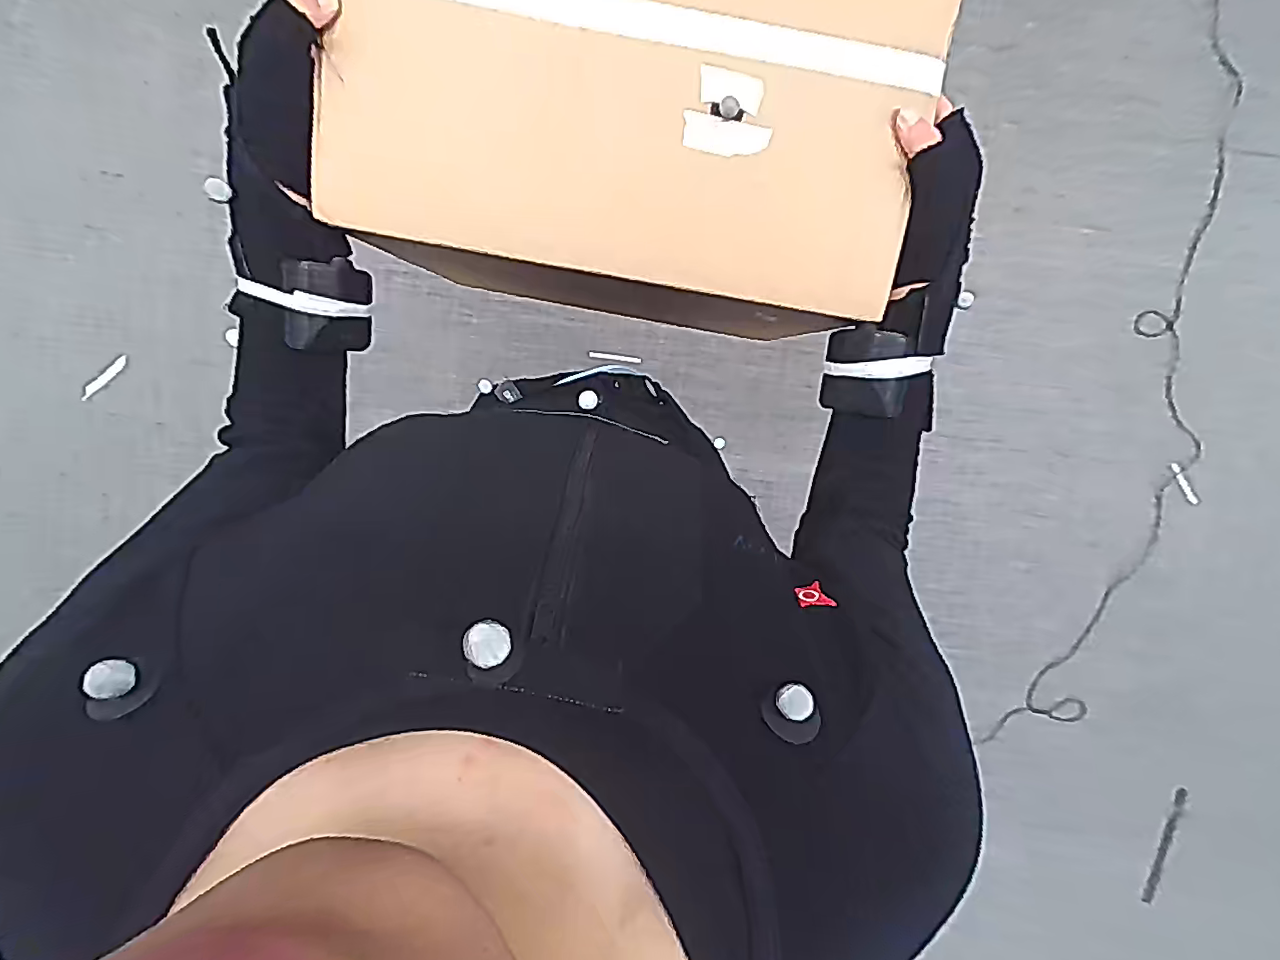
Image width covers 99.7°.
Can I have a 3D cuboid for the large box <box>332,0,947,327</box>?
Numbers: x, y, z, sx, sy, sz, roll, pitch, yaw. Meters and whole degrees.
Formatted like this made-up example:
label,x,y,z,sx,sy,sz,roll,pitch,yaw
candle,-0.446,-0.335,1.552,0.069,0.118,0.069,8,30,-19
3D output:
label,x,y,z,sx,sy,sz,roll,pitch,yaw
large box,-0.004,-0.337,0.504,0.408,0.320,0.320,9,103,-4
